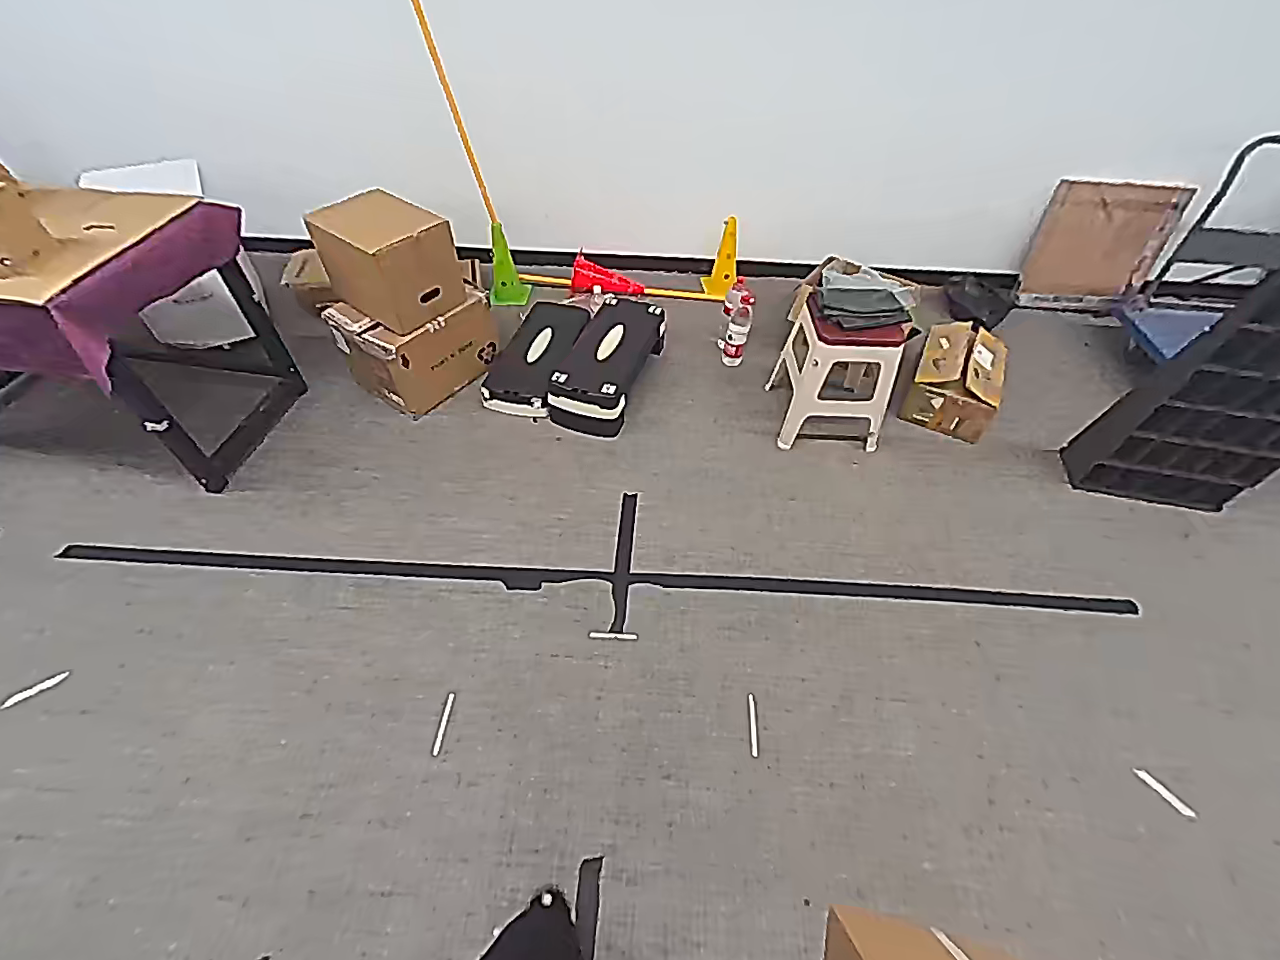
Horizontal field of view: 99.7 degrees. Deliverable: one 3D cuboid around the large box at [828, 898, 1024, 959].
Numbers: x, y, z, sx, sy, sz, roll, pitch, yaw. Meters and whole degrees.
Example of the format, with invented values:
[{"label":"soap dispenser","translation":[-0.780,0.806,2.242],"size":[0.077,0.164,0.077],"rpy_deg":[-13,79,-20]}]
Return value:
[{"label":"large box","translation":[0.399,0.774,0.605],"size":[0.320,0.408,0.320],"rpy_deg":[11,74,10]}]
